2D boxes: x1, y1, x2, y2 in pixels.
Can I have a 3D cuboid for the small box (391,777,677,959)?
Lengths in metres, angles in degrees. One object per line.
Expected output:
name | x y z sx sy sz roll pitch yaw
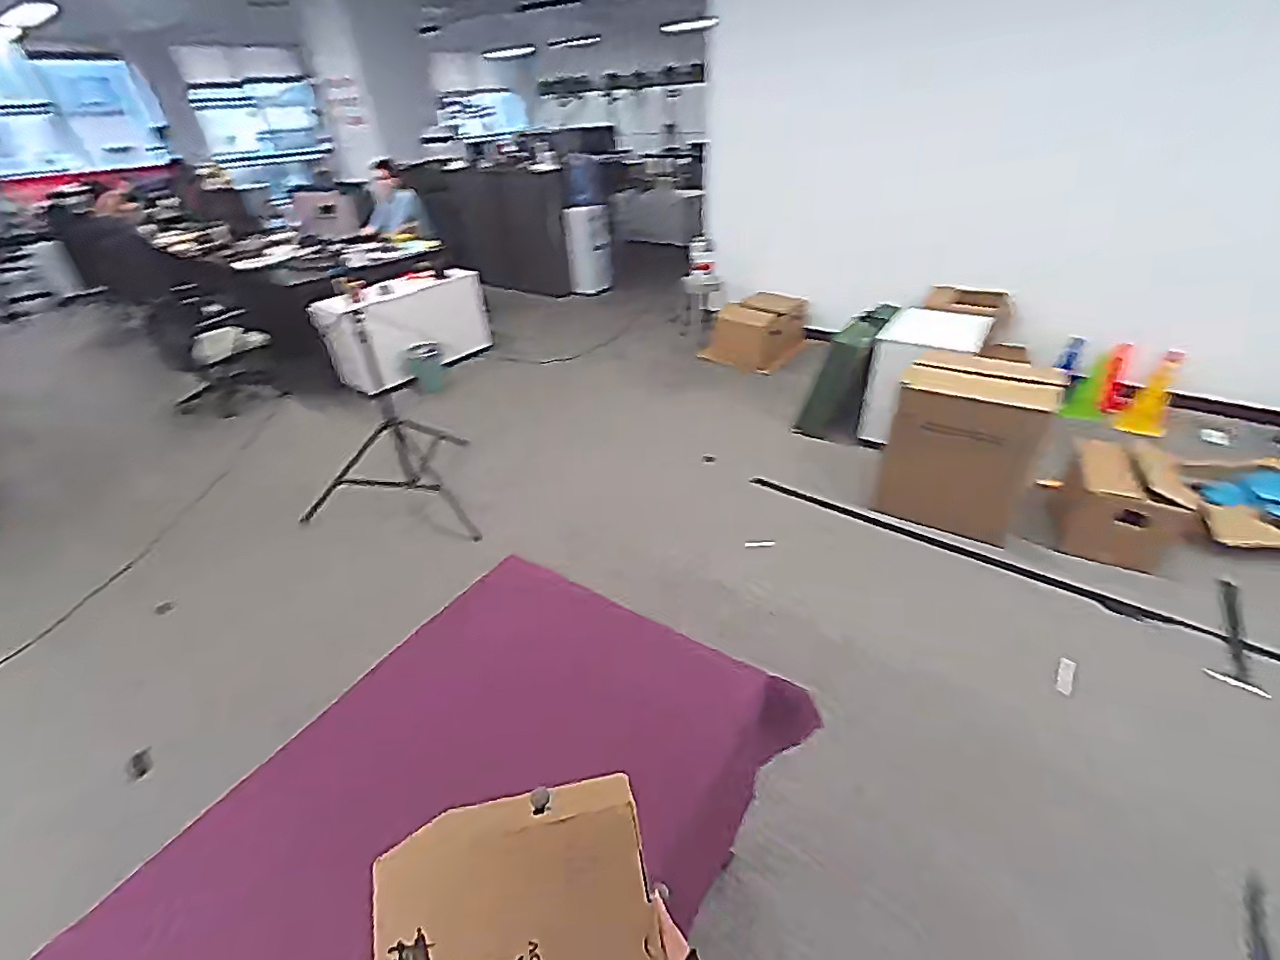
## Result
small box | -0.069 0.337 0.407 0.179 0.176 0.168 -8 67 -7
